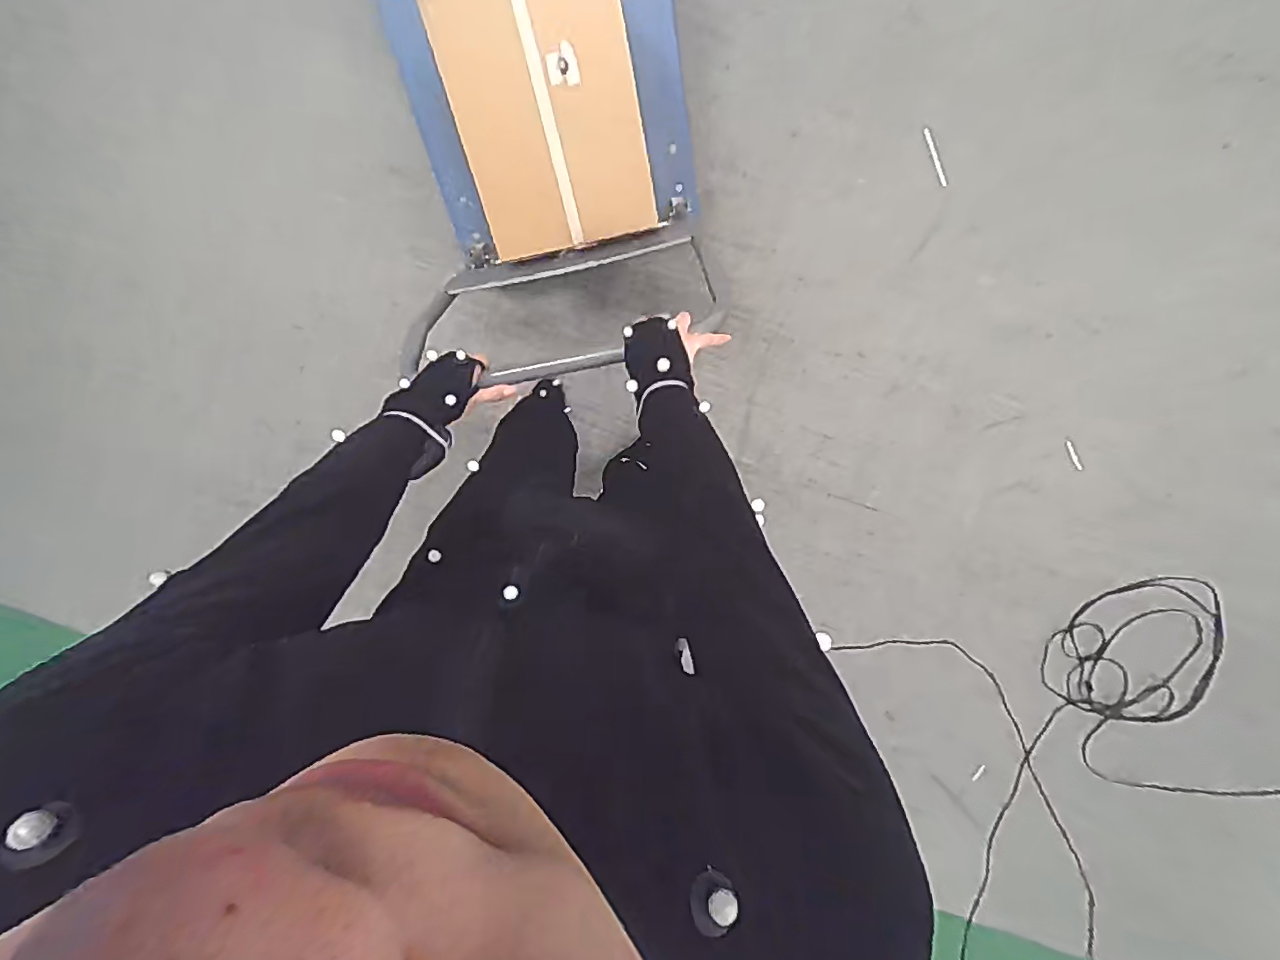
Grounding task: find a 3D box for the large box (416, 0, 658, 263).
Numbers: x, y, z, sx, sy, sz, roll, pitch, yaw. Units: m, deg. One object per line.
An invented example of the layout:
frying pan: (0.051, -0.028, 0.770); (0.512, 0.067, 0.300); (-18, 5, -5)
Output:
large box: (-0.161, -0.688, 1.058); (0.320, 0.320, 0.408); (-12, 120, 5)
